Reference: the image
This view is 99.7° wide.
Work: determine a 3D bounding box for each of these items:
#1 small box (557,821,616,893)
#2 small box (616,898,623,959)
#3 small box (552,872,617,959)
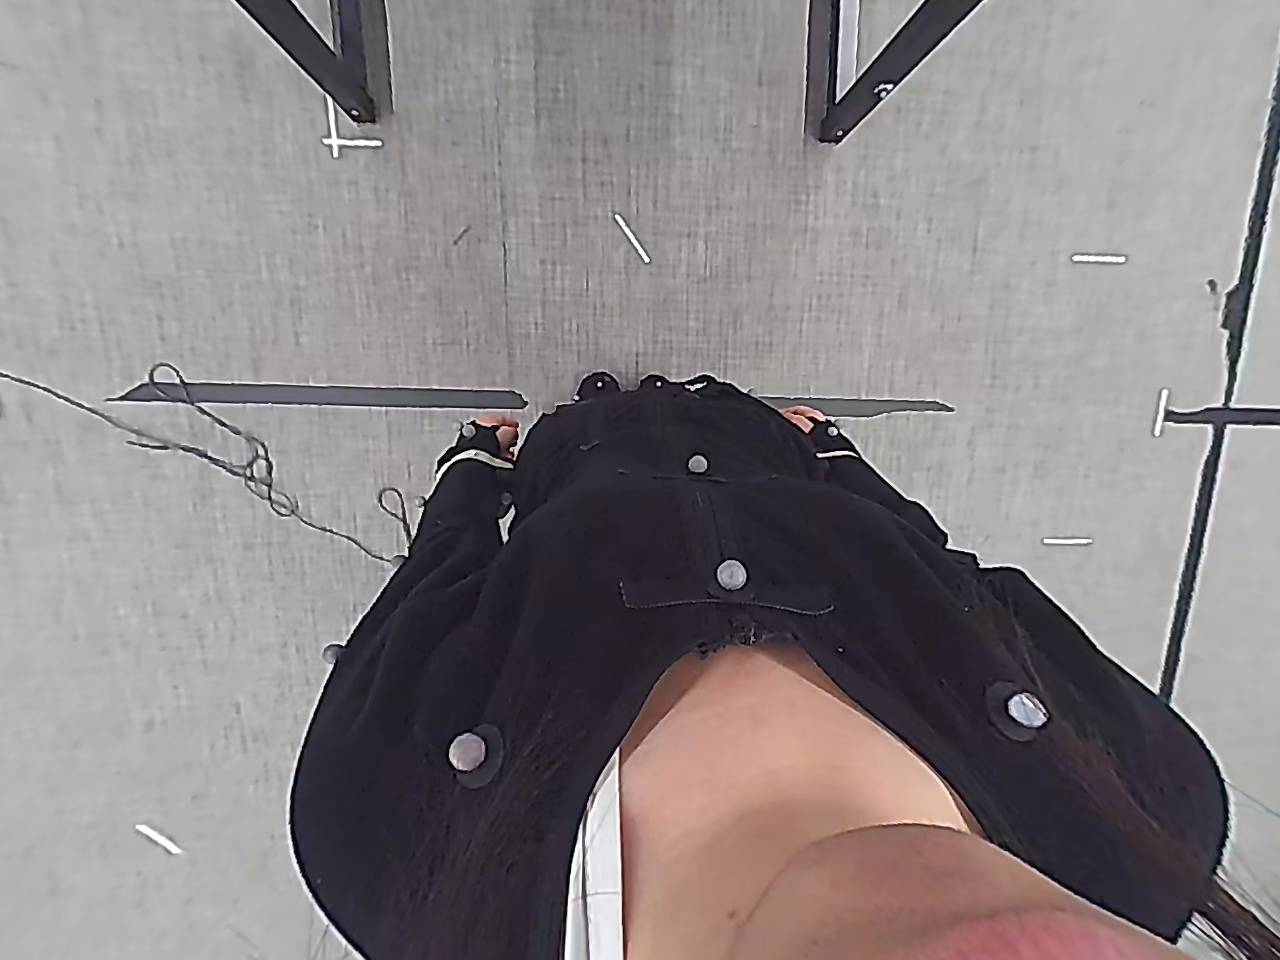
[{"bbox_3d":[-0.158,1.154,1.619,0.168,0.176,0.179,-2,102,-3],"label":"small box"},{"bbox_3d":[-0.142,1.430,1.674,0.168,0.176,0.179,-7,101,-3],"label":"small box"},{"bbox_3d":[-0.149,1.198,1.461,0.168,0.176,0.179,1,102,-4],"label":"small box"}]
